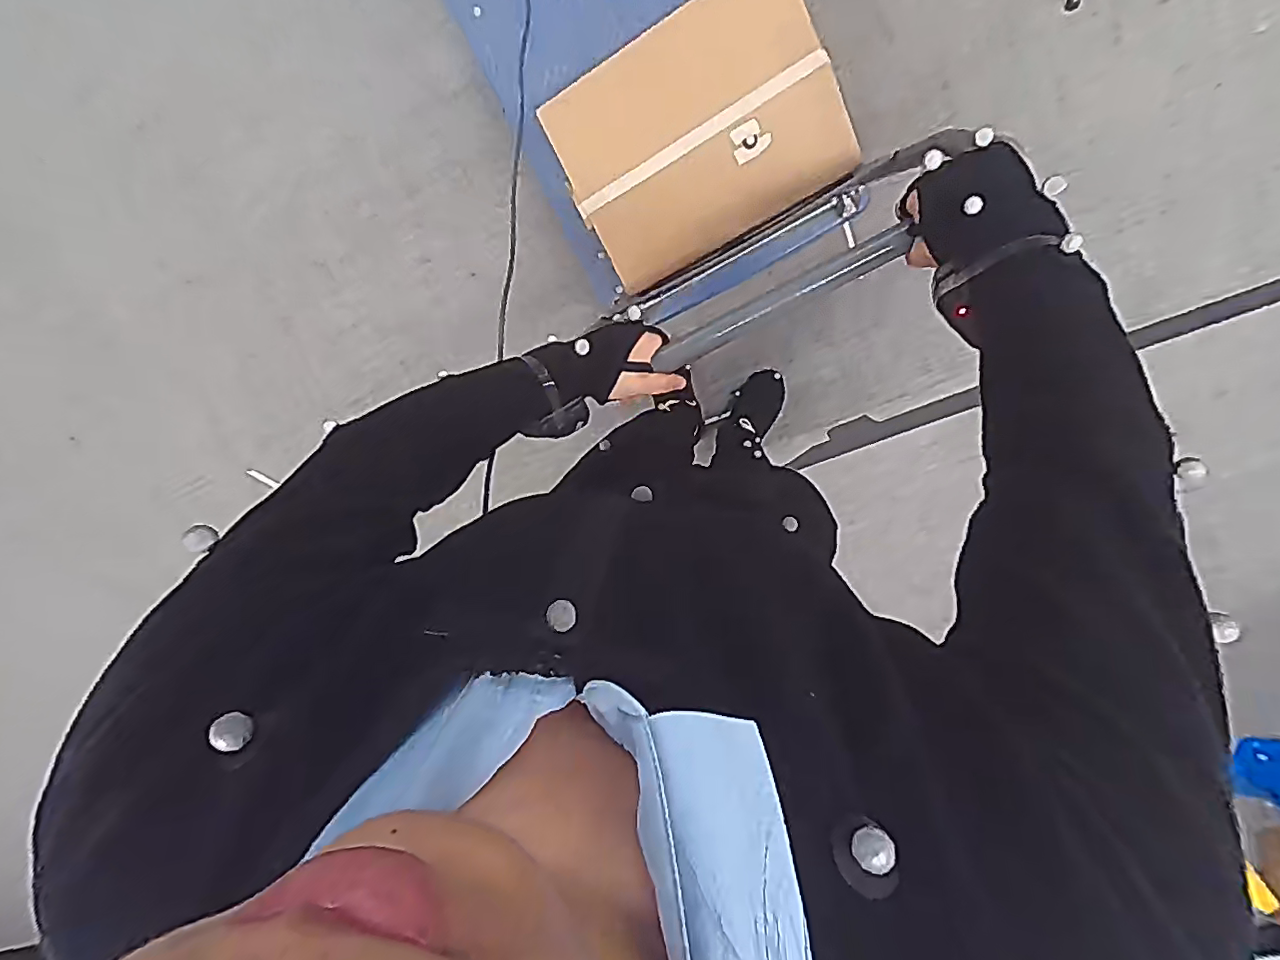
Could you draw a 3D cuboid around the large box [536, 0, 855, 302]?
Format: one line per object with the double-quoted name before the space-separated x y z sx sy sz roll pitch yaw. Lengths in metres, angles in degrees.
"large box" 0.096 -0.555 0.957 0.408 0.320 0.320 -25 105 15
